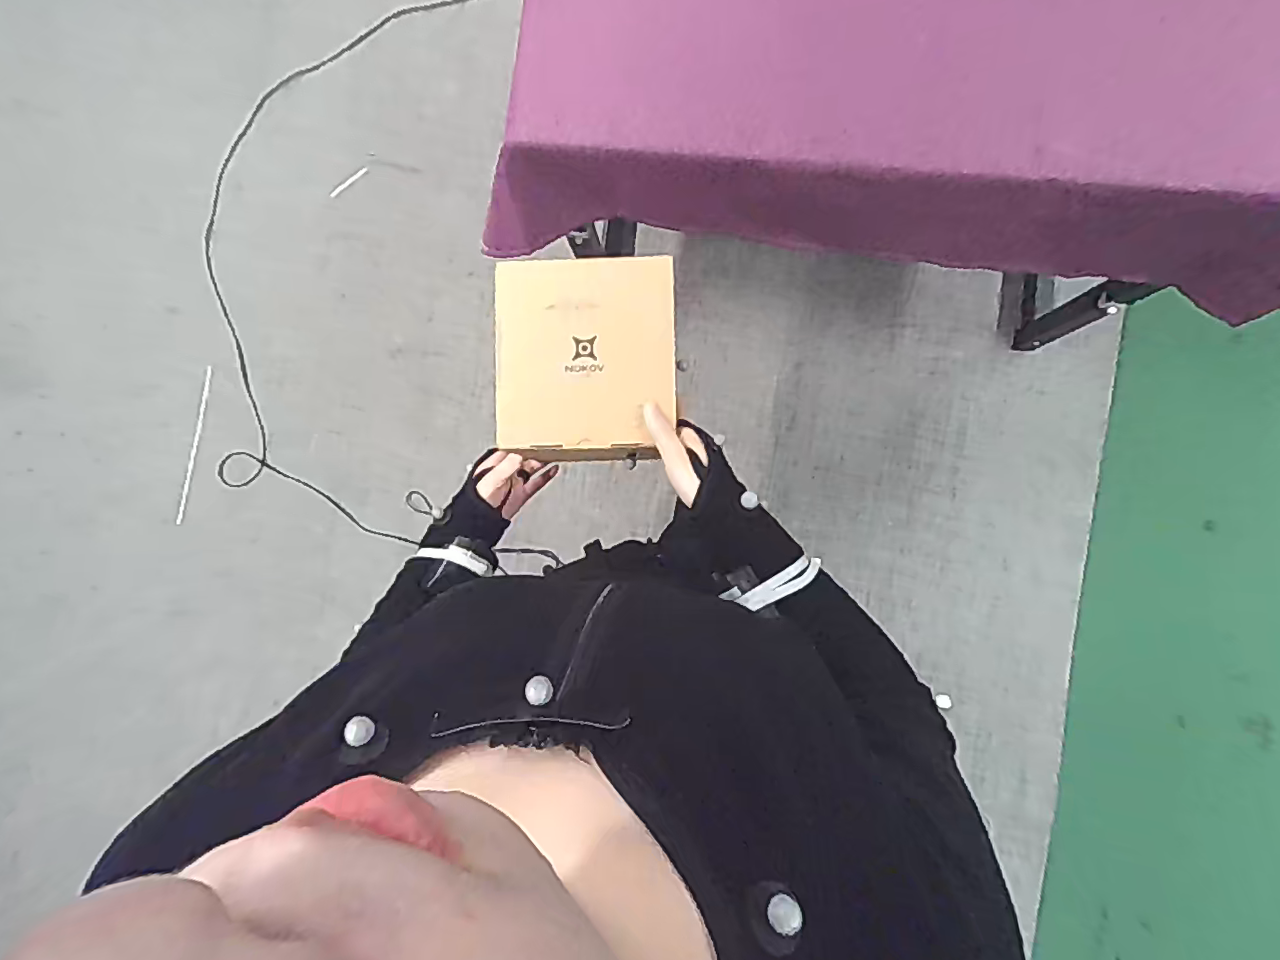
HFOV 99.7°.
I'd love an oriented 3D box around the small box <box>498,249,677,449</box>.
[{"bbox_3d":[-0.046,-0.123,0.573,0.168,0.176,0.179,0,89,1],"label":"small box"}]
